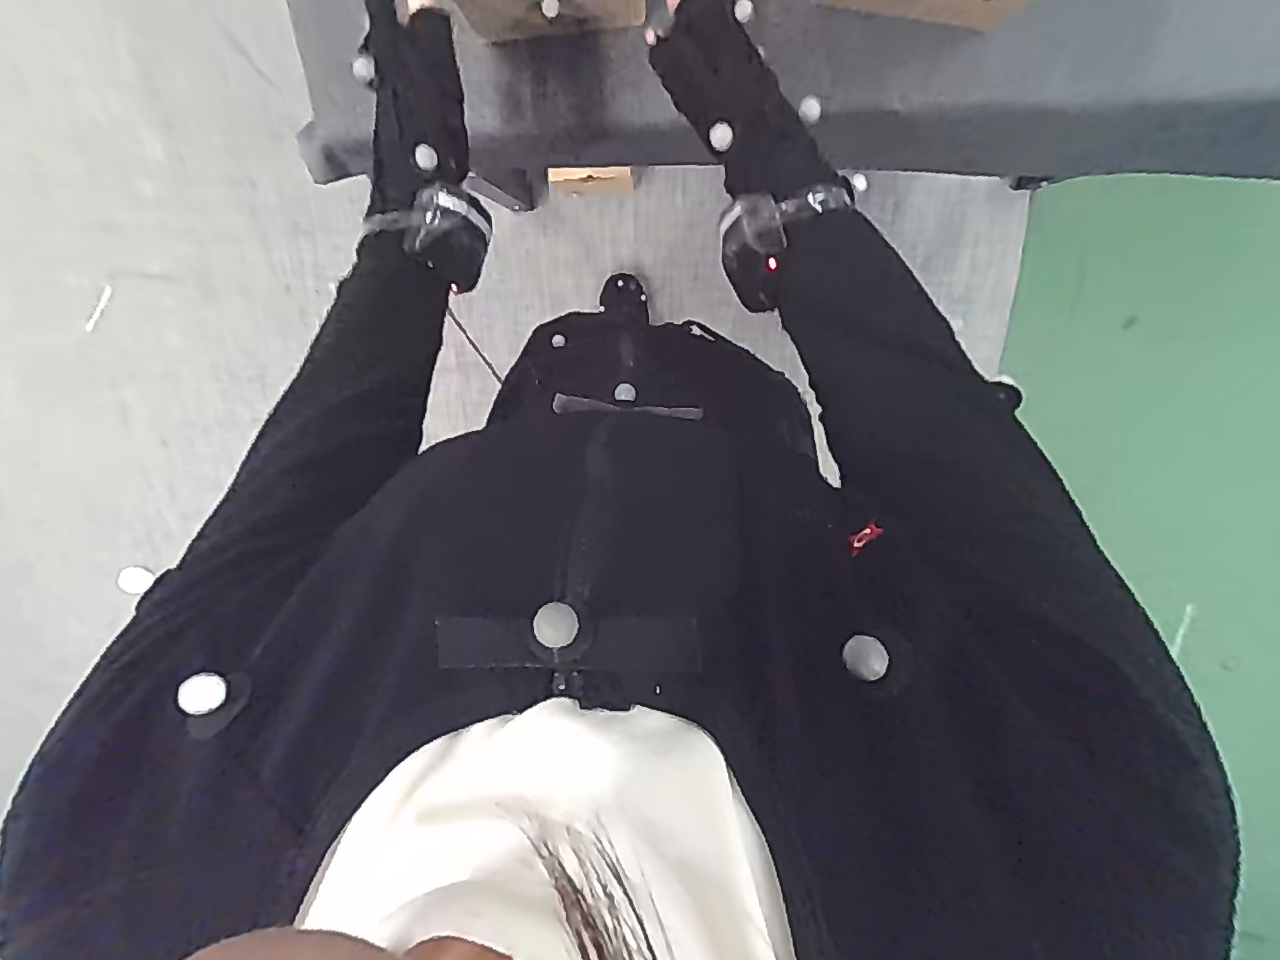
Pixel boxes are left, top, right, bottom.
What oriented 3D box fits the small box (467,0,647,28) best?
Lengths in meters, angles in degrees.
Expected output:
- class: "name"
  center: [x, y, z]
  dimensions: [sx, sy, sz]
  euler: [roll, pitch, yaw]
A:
- class: "small box"
  center: [-0.081, -0.495, 0.428]
  dimensions: [0.168, 0.176, 0.179]
  euler: [-4, 110, 2]
